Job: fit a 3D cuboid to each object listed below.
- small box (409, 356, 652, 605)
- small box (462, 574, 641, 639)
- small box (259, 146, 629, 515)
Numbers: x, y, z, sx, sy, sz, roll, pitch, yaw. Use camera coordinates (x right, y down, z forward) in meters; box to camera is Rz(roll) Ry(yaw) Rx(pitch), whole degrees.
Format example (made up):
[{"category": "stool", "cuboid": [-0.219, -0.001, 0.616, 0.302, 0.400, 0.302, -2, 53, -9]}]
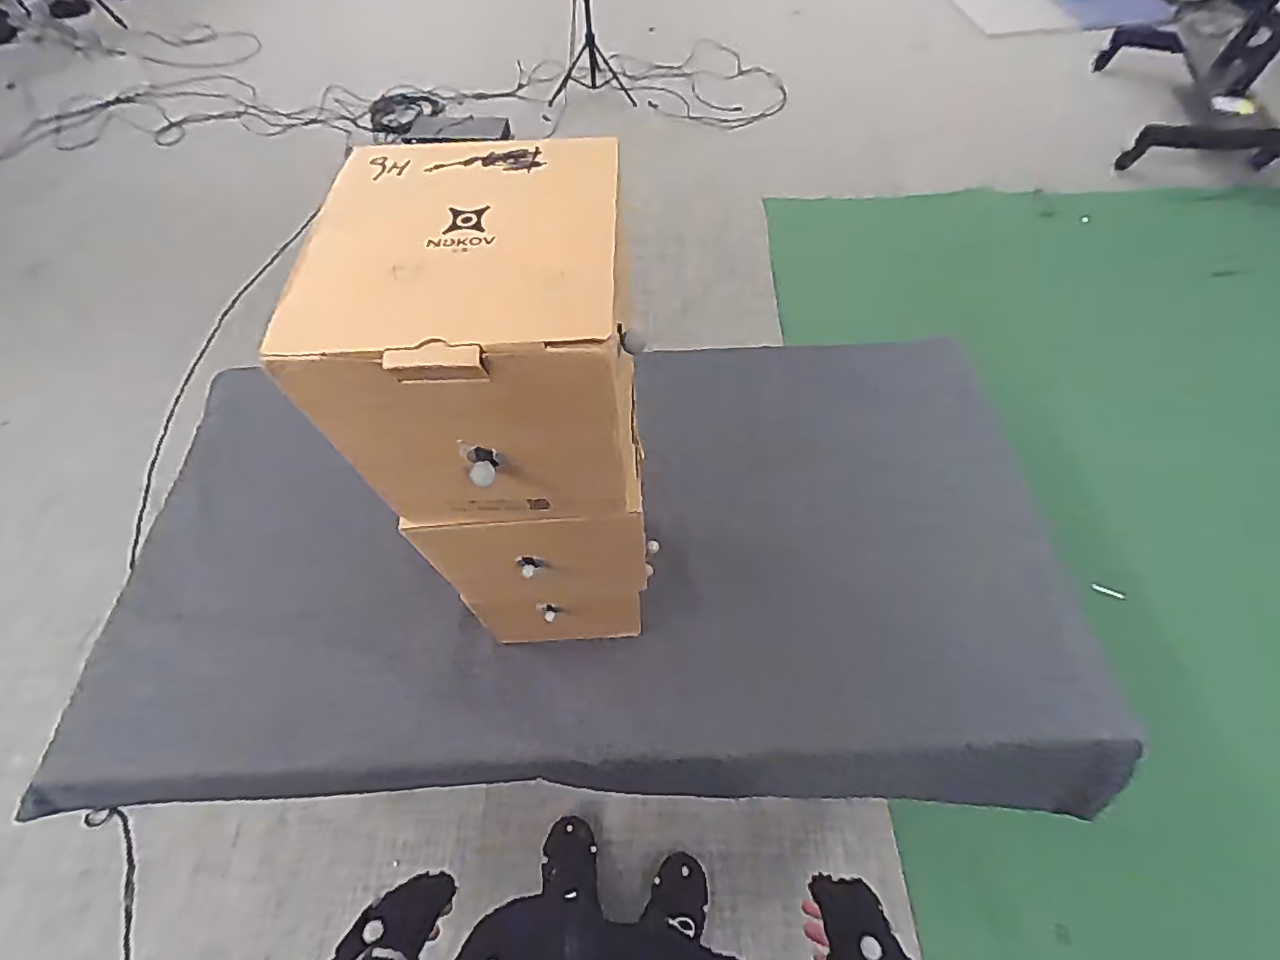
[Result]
[{"category": "small box", "cuboid": [-0.086, 0.006, 0.495, 0.179, 0.176, 0.168, -6, 60, -3]}, {"category": "small box", "cuboid": [-0.090, 0.085, 0.639, 0.179, 0.176, 0.168, -3, 60, -1]}, {"category": "small box", "cuboid": [-0.094, -0.085, 0.359, 0.168, 0.176, 0.179, -1, 60, 2]}]
